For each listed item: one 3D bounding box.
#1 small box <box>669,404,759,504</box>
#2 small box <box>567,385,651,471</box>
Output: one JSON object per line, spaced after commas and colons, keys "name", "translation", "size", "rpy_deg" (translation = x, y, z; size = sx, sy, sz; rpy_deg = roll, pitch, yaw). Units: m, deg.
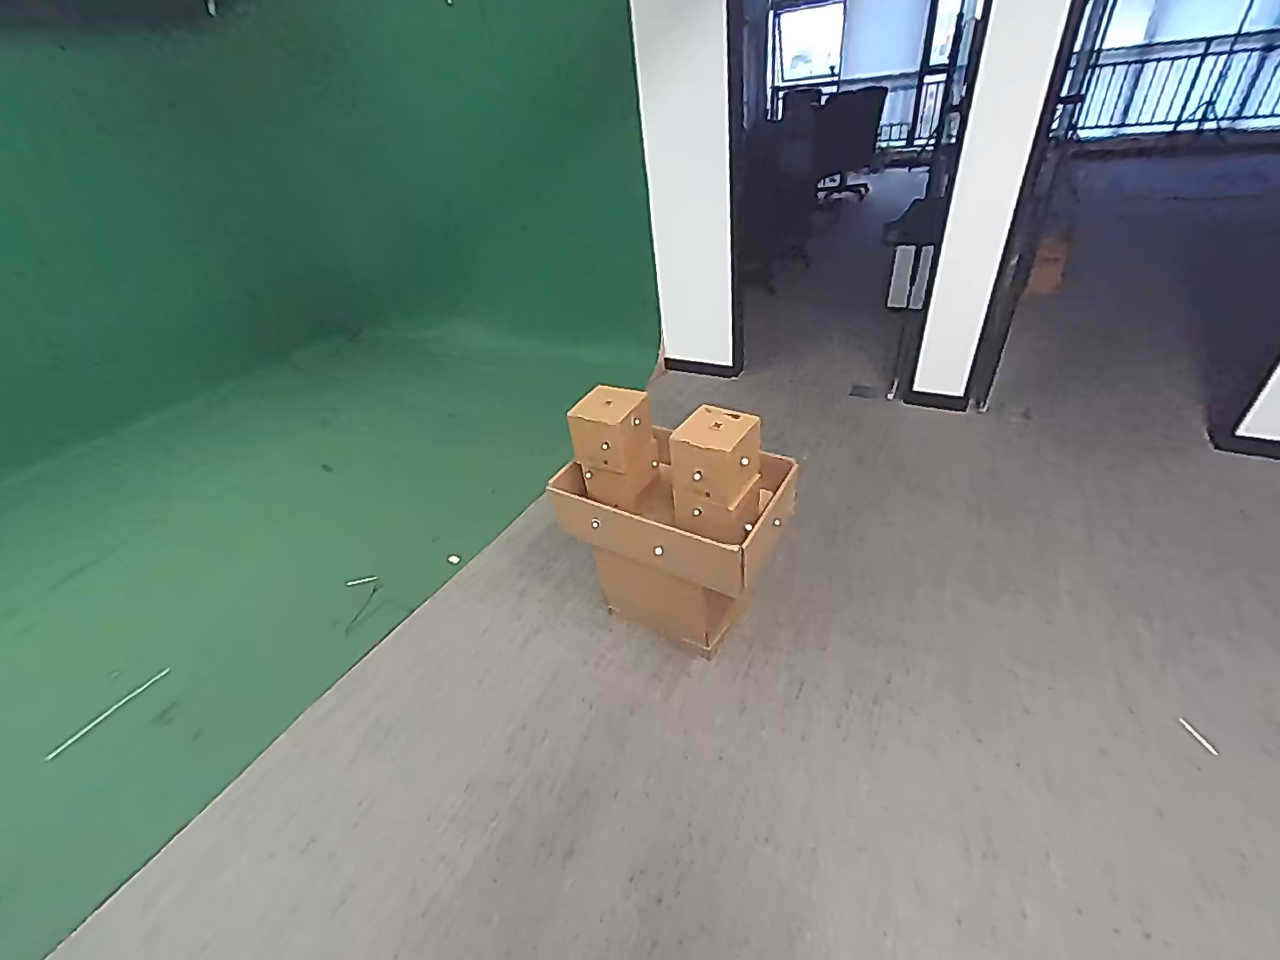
{"name": "small box", "translation": [0.194, -0.066, 1.373], "size": [0.168, 0.176, 0.179], "rpy_deg": [19, 46, 30]}
{"name": "small box", "translation": [-0.079, -0.146, 1.532], "size": [0.168, 0.176, 0.179], "rpy_deg": [14, 42, 26]}
